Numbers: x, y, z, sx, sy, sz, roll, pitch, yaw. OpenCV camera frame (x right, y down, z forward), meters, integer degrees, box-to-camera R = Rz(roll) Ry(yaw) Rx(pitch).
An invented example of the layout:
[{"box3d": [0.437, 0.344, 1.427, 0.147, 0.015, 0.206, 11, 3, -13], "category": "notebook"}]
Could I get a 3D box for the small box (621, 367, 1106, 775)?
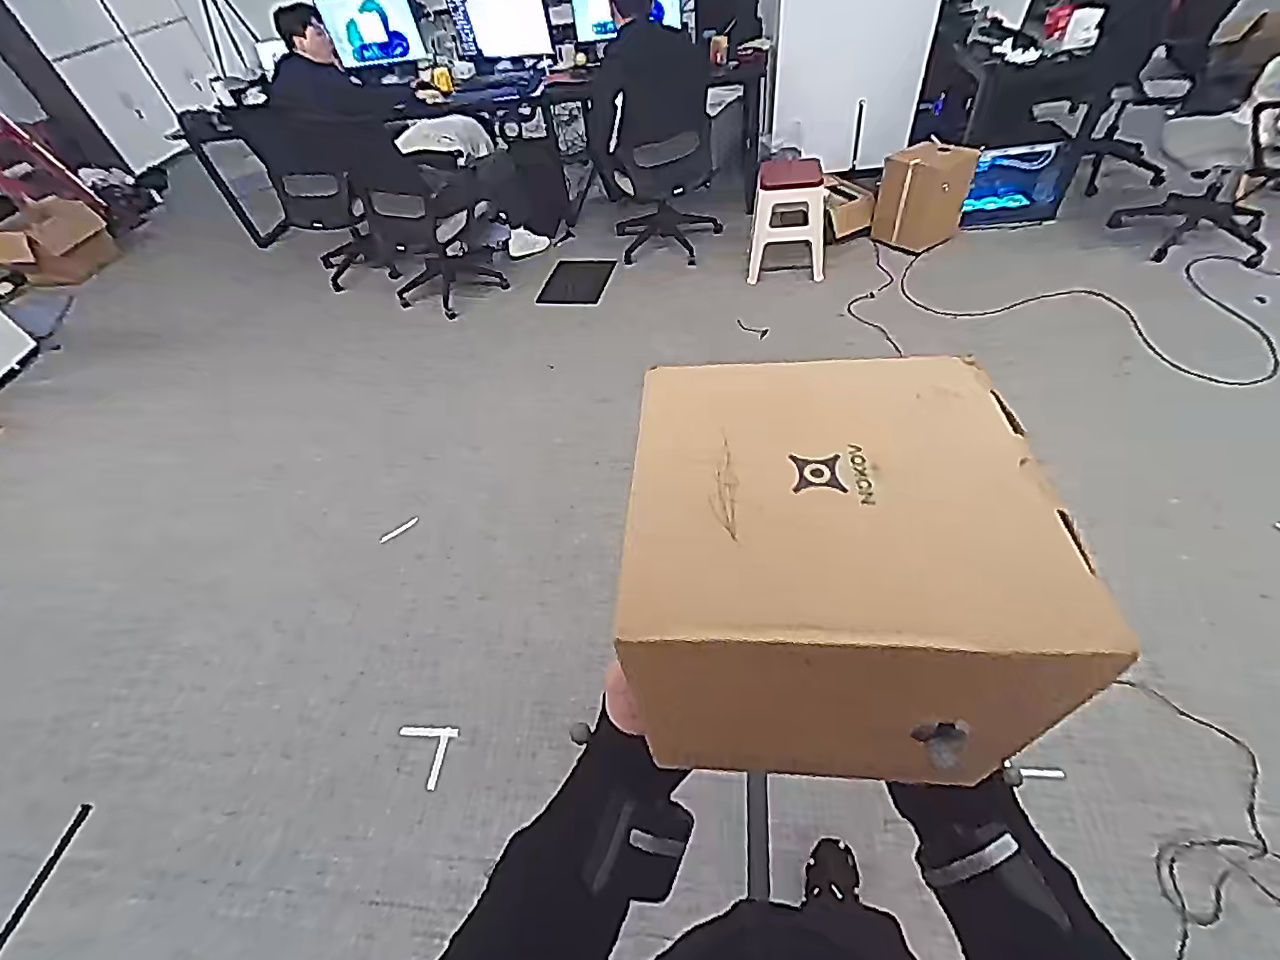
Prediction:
[{"box3d": [0.094, 0.055, 0.310, 0.179, 0.176, 0.168, -1, 46, 8], "category": "small box"}]
